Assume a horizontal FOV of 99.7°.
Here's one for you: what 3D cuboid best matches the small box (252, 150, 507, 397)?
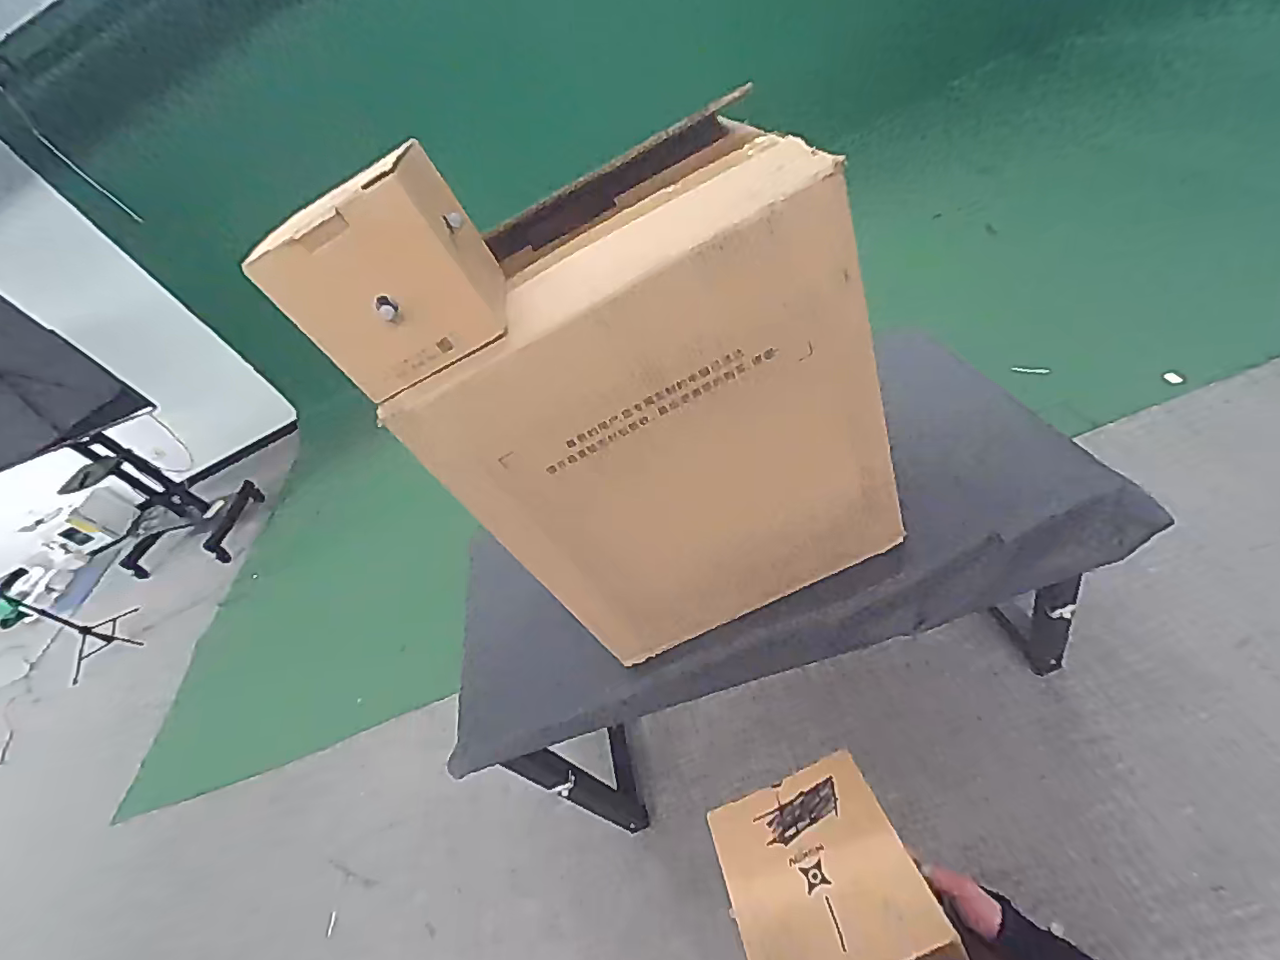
[{"bbox_3d":[-0.257,-0.214,0.583,0.168,0.176,0.179,-26,41,7],"label":"small box"}]
